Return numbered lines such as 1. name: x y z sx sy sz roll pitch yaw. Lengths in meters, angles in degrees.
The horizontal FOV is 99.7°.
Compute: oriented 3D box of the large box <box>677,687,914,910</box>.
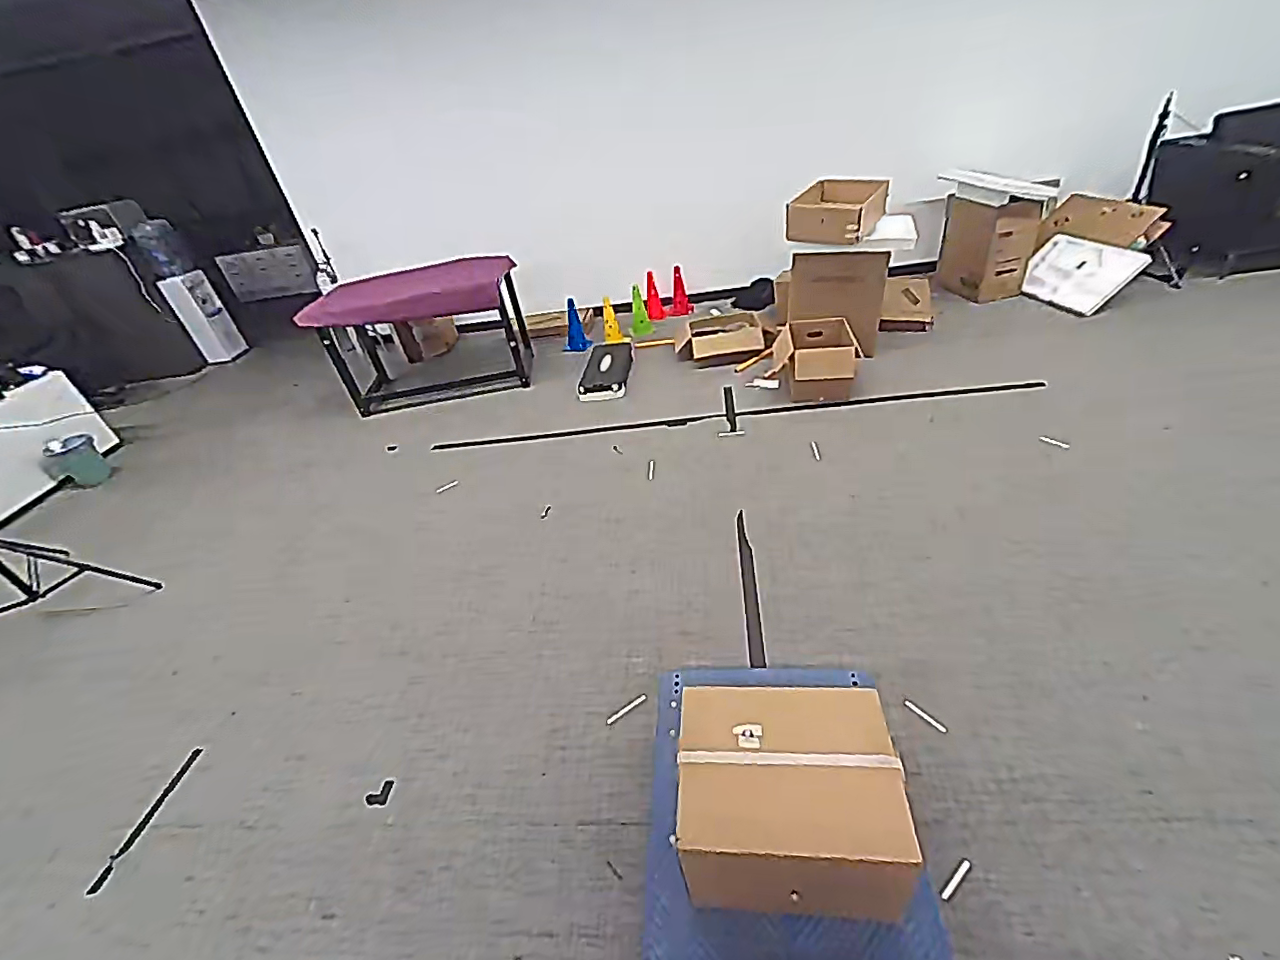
1. large box: 0.300 0.662 1.132 0.408 0.320 0.320 -5 36 10
